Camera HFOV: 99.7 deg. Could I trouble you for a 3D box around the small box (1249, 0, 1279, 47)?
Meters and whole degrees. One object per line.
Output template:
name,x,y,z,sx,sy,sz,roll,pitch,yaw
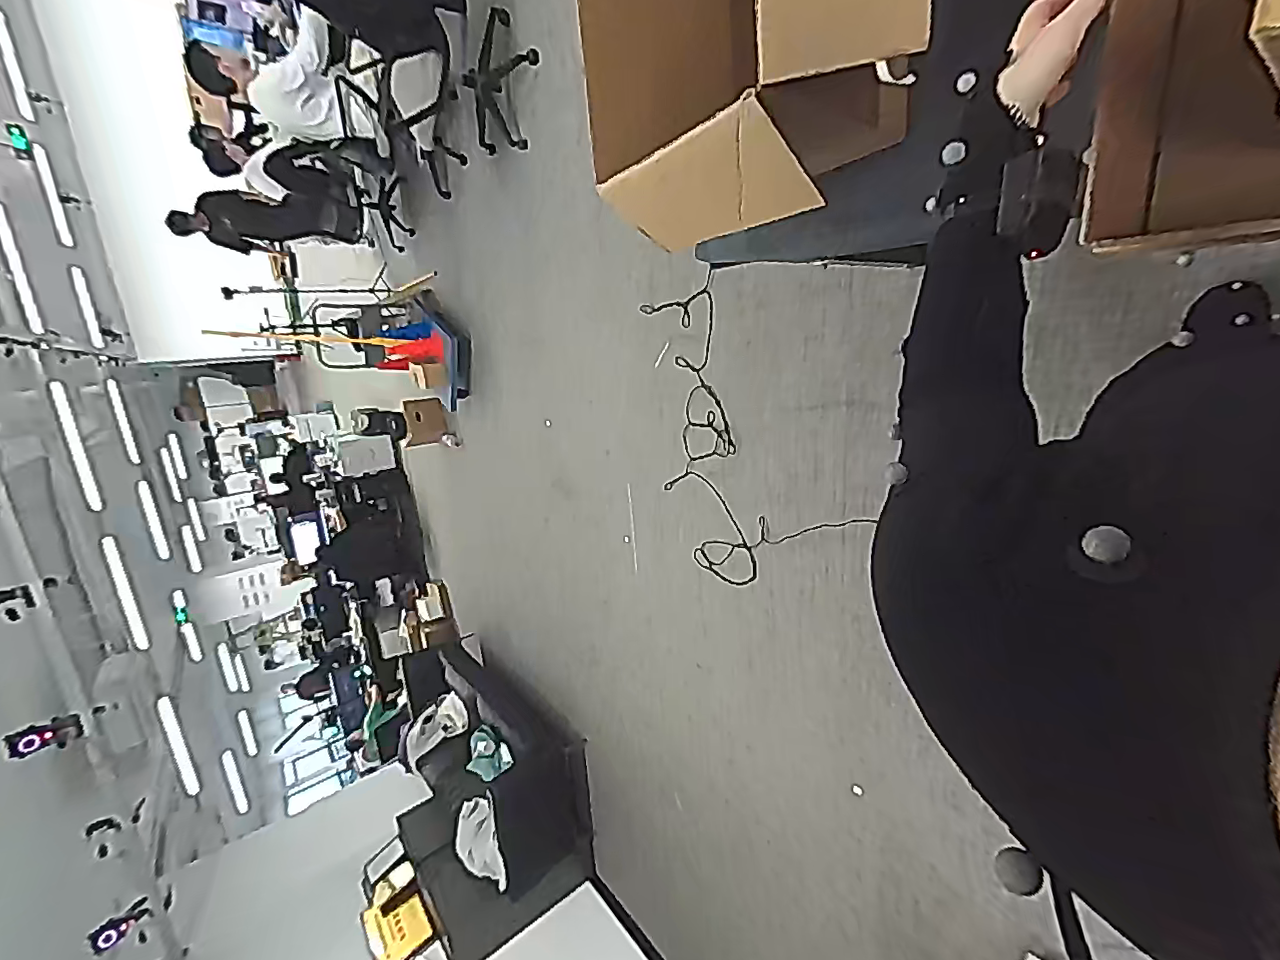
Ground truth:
small box,0.416,-0.300,0.226,0.179,0.176,0.168,18,117,50
